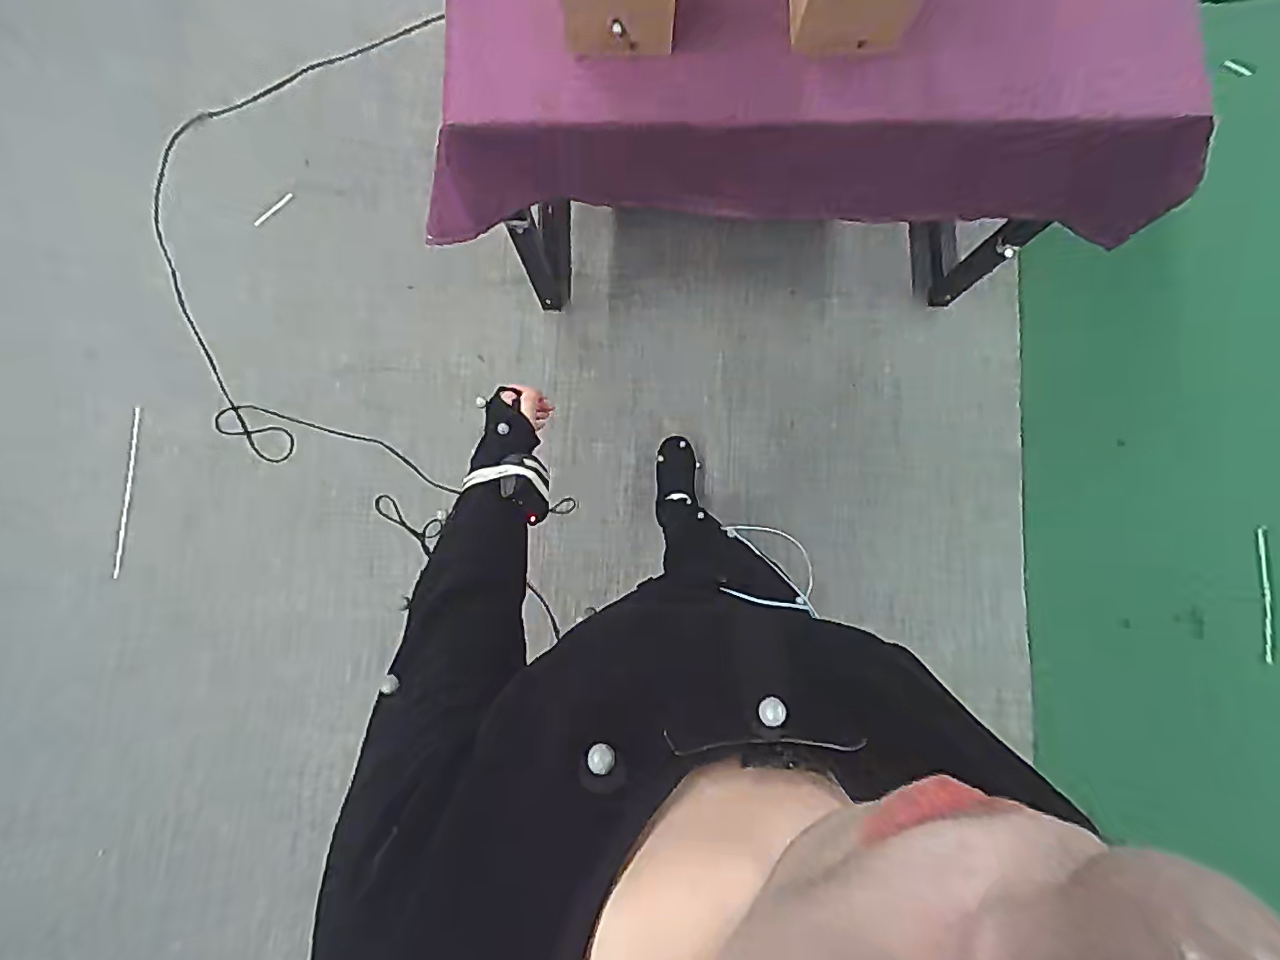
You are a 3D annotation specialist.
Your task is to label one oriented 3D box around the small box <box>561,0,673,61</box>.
[{"bbox_3d":[-0.033,-0.765,0.790,0.168,0.176,0.179,1,83,1],"label":"small box"}]
